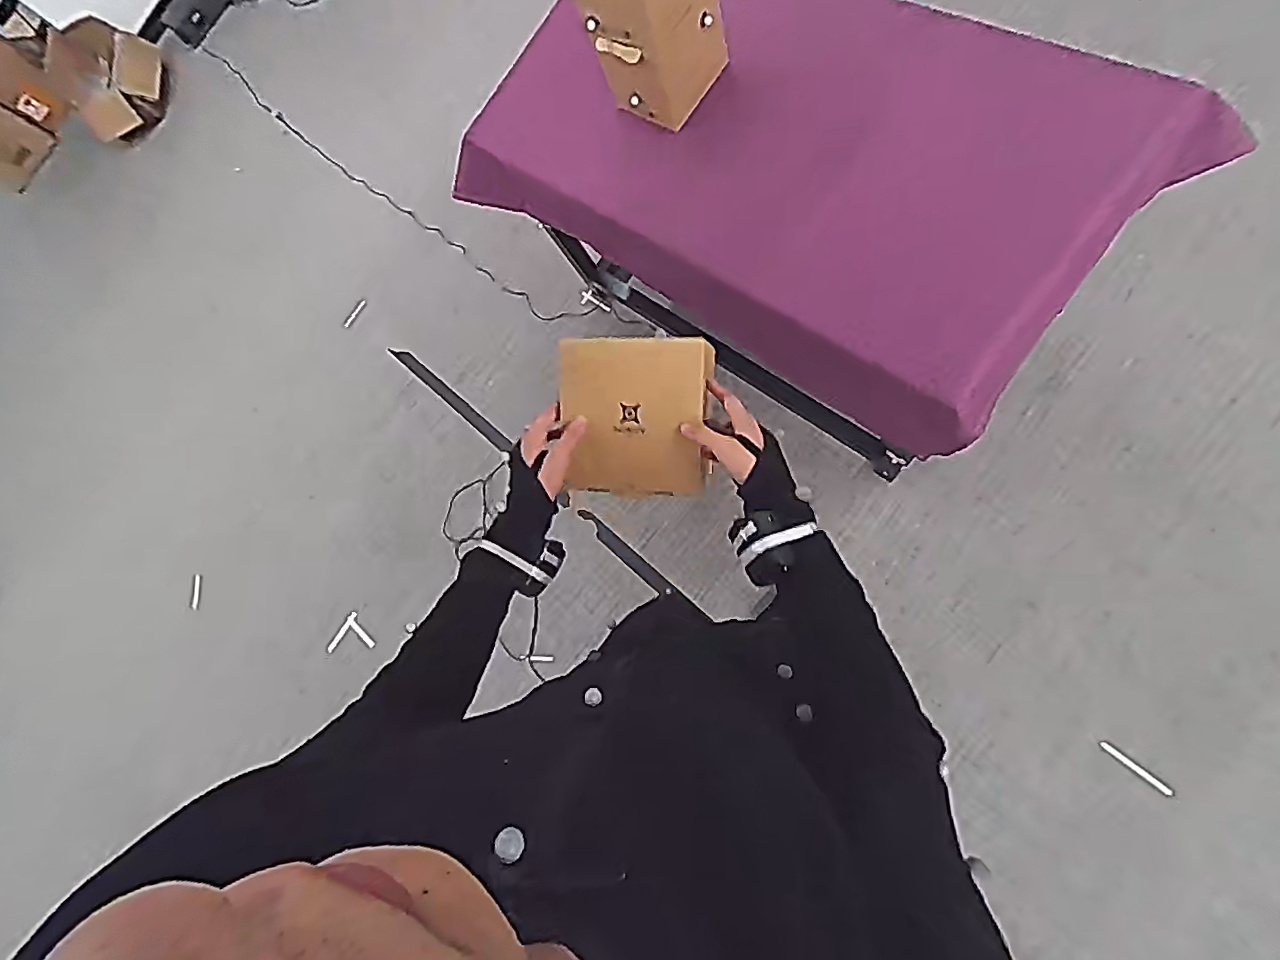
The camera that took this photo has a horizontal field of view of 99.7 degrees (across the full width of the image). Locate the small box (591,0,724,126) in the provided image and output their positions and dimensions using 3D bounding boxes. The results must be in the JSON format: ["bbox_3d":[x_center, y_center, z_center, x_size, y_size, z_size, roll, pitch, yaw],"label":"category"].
[{"bbox_3d":[0.043,-0.823,1.015,0.168,0.176,0.179,38,93,21],"label":"small box"}]

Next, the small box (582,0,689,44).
[{"bbox_3d":[-0.007,-0.854,0.862,0.168,0.176,0.179,33,90,20],"label":"small box"}]
